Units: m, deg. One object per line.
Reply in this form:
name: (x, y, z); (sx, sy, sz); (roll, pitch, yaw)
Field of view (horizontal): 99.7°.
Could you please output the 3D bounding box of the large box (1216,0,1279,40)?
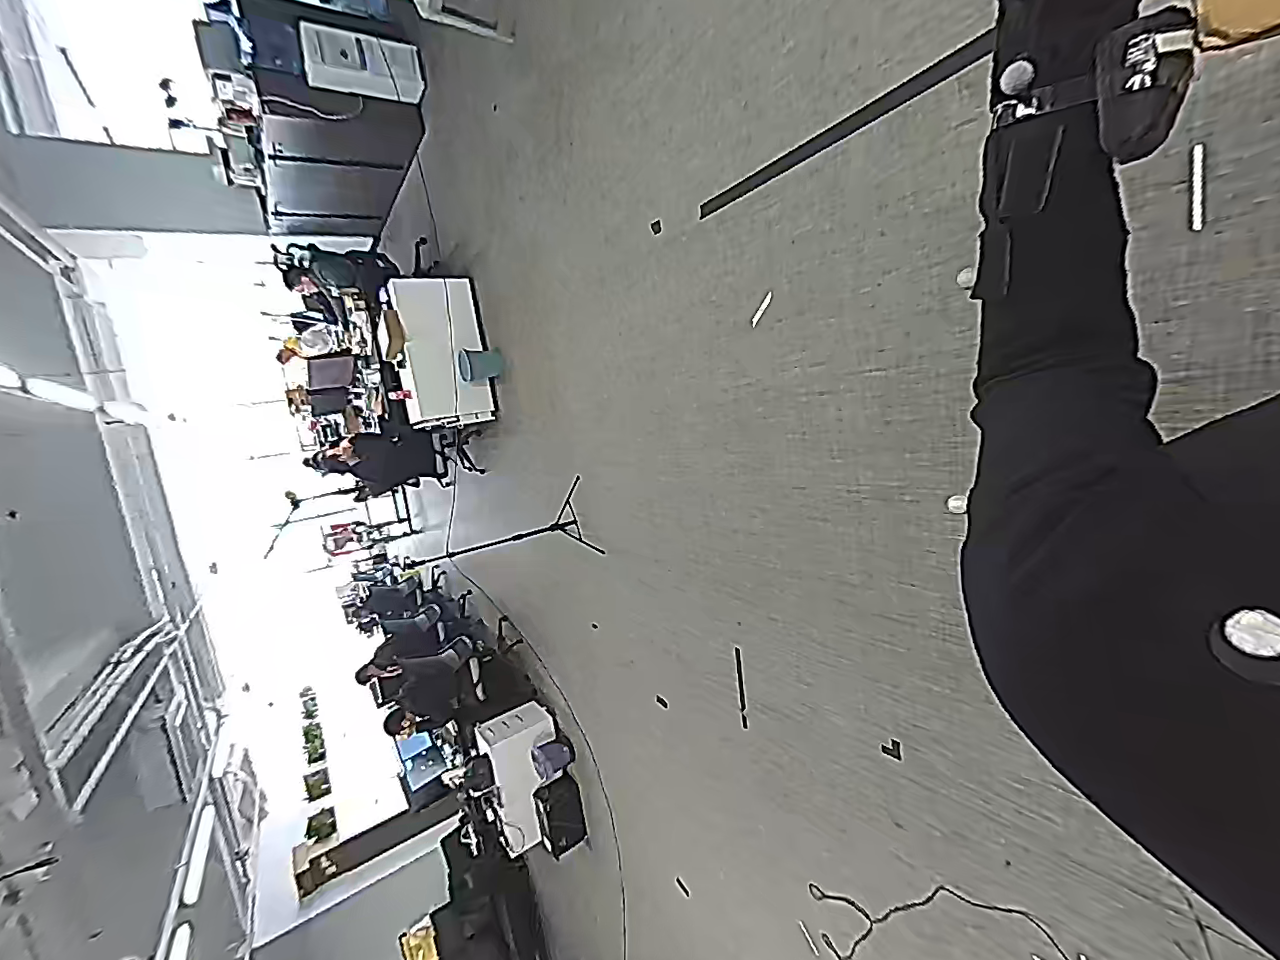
large box: (0.475, -0.424, 0.156); (0.408, 0.320, 0.320); (5, 121, 56)
